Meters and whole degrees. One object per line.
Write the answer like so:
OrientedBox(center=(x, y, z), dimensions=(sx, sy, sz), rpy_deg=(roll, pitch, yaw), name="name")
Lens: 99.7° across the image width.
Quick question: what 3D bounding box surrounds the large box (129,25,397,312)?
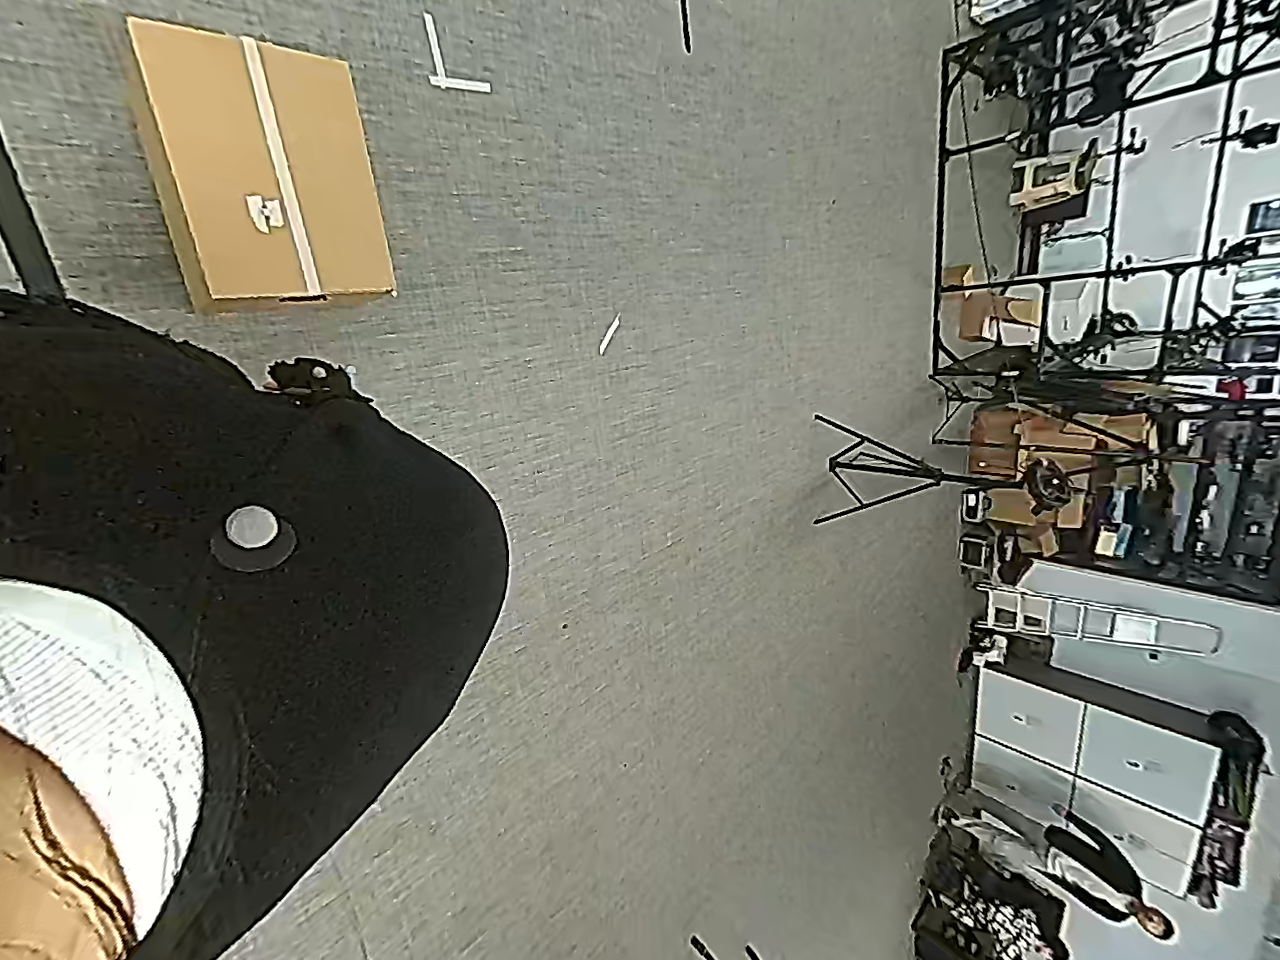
OrientedBox(center=(-0.733, -0.559, 1.064), dimensions=(0.320, 0.320, 0.408), rpy_deg=(-19, 112, -39), name="large box")
